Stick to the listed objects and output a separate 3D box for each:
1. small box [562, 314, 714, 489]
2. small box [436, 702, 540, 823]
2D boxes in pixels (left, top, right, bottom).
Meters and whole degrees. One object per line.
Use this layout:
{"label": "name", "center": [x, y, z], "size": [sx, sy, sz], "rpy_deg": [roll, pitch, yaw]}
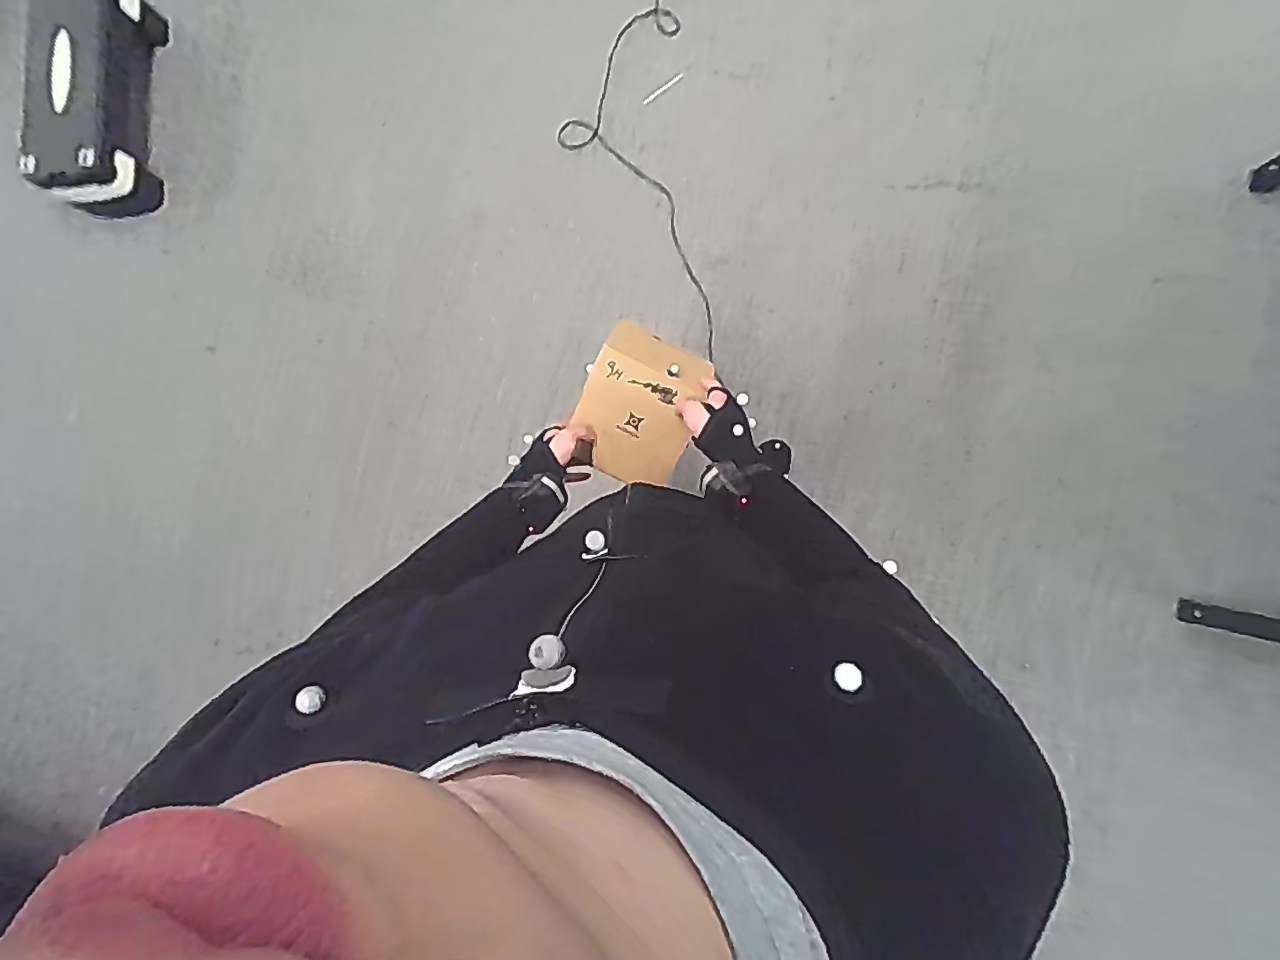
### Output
{"label": "small box", "center": [0.005, -0.125, 0.828], "size": [0.168, 0.176, 0.179], "rpy_deg": [27, 120, -6]}
{"label": "small box", "center": [-0.327, 0.608, 1.189], "size": [0.168, 0.176, 0.179], "rpy_deg": [2, 89, 10]}
